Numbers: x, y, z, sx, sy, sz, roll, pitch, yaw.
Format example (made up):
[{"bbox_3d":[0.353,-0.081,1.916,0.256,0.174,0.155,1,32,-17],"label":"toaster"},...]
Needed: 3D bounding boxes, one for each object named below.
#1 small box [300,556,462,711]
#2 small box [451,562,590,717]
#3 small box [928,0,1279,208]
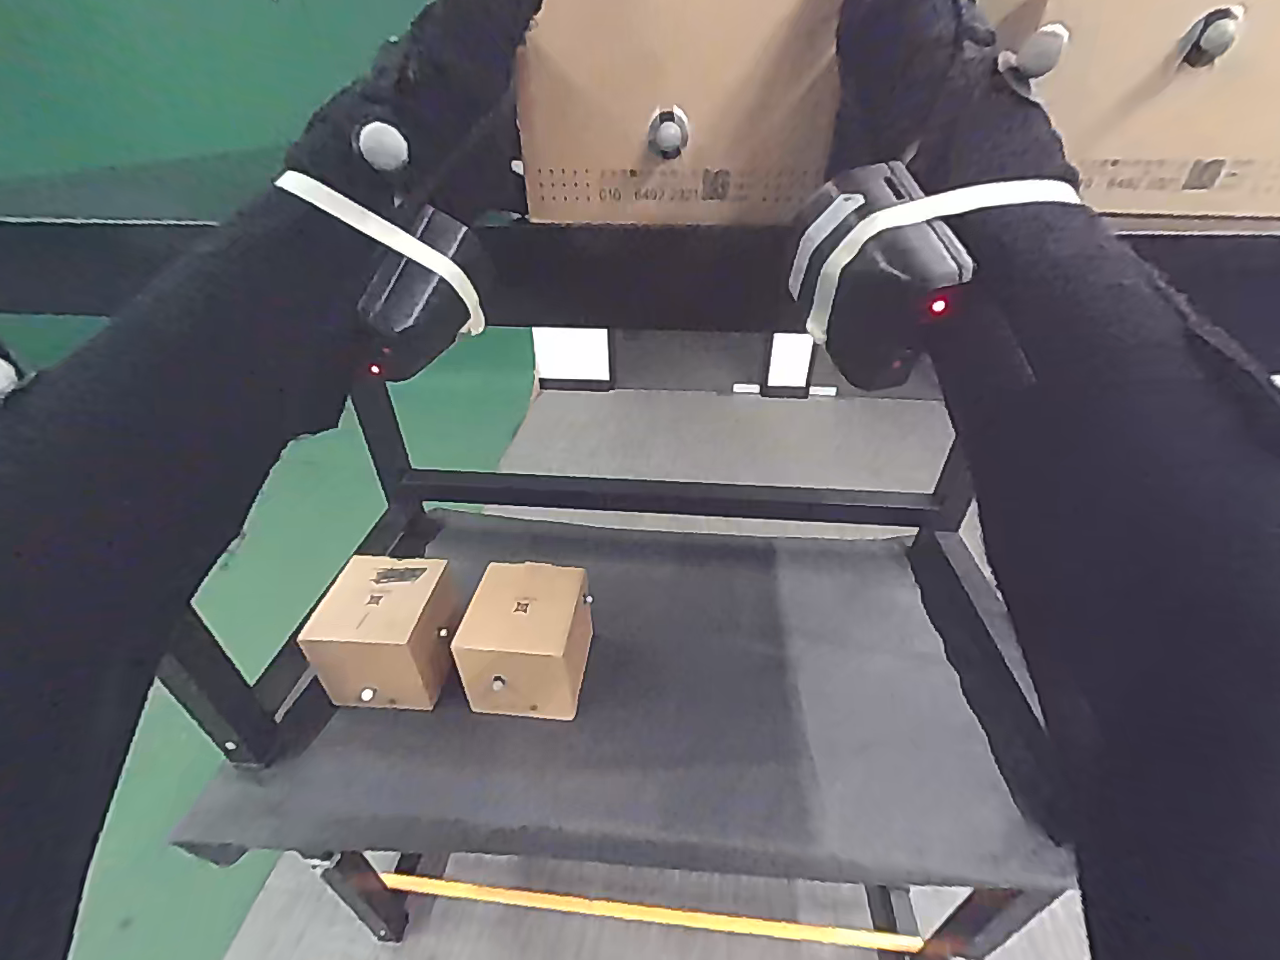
[{"bbox_3d":[-0.403,0.246,0.883,0.168,0.176,0.179,1,35,3],"label":"small box"},{"bbox_3d":[-0.177,0.256,0.869,0.168,0.176,0.179,3,34,5],"label":"small box"},{"bbox_3d":[0.299,-0.272,0.334,0.168,0.176,0.179,8,35,12],"label":"small box"}]
